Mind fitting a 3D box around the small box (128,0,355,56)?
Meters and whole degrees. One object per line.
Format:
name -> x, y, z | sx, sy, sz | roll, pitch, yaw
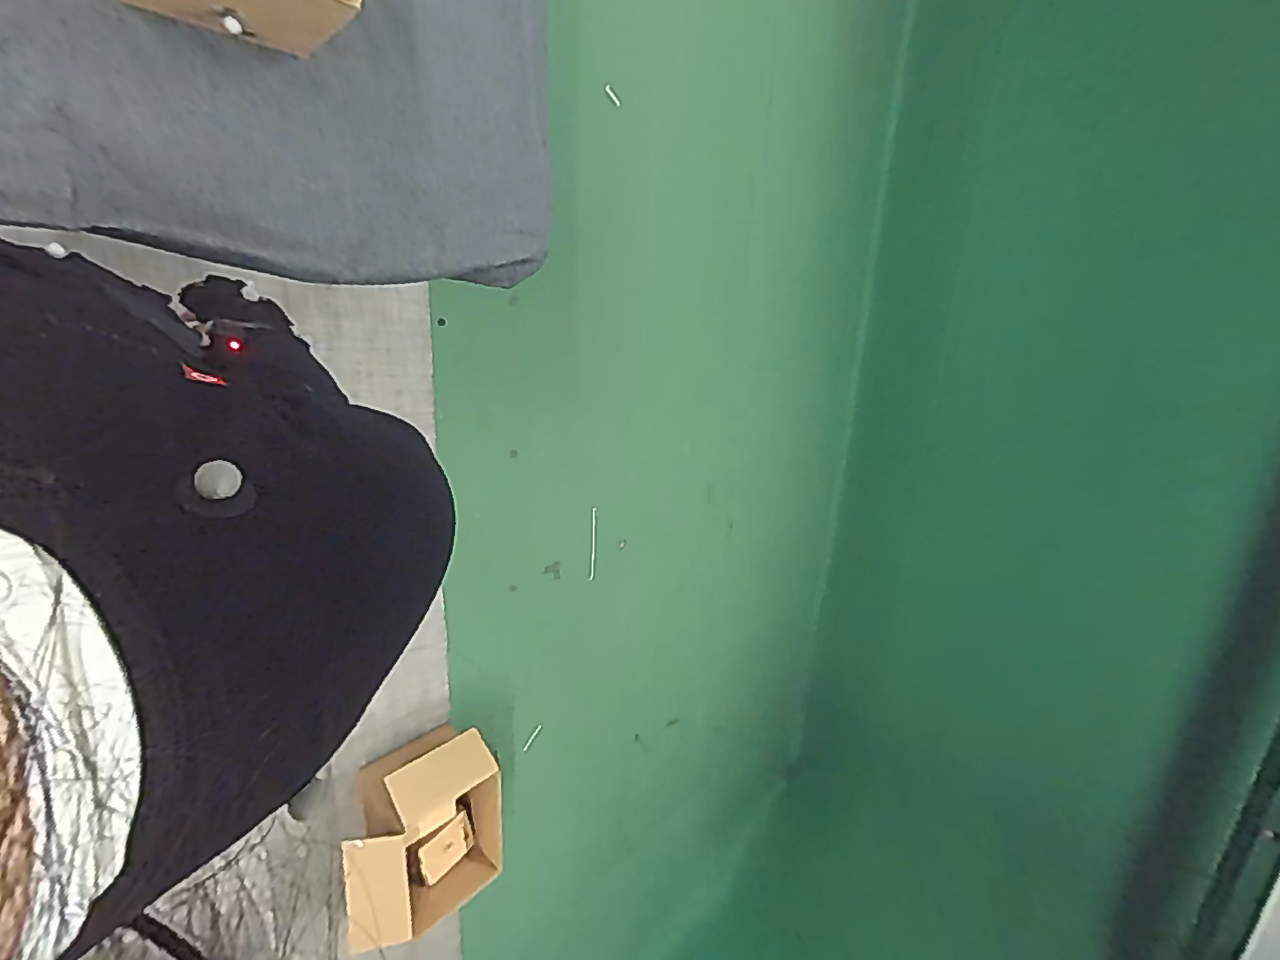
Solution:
small box -> -0.388, -0.538, 0.494 | 0.168, 0.176, 0.179 | -16, 114, -45
